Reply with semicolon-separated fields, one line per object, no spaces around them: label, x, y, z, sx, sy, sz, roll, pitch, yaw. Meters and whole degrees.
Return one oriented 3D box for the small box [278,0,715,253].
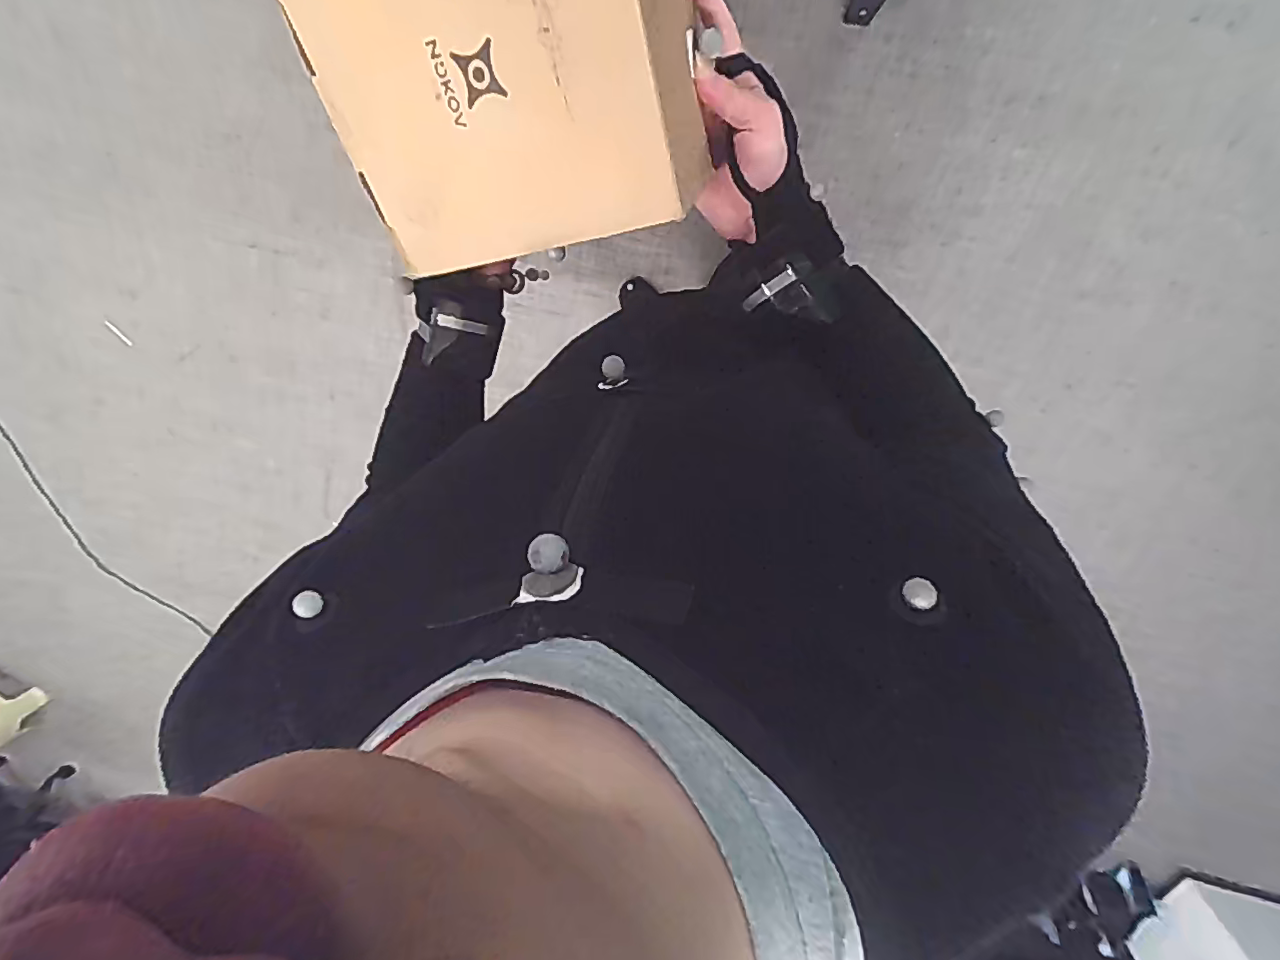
small box;-0.063;-0.251;0.310;0.179;0.176;0.168;-5;127;18
